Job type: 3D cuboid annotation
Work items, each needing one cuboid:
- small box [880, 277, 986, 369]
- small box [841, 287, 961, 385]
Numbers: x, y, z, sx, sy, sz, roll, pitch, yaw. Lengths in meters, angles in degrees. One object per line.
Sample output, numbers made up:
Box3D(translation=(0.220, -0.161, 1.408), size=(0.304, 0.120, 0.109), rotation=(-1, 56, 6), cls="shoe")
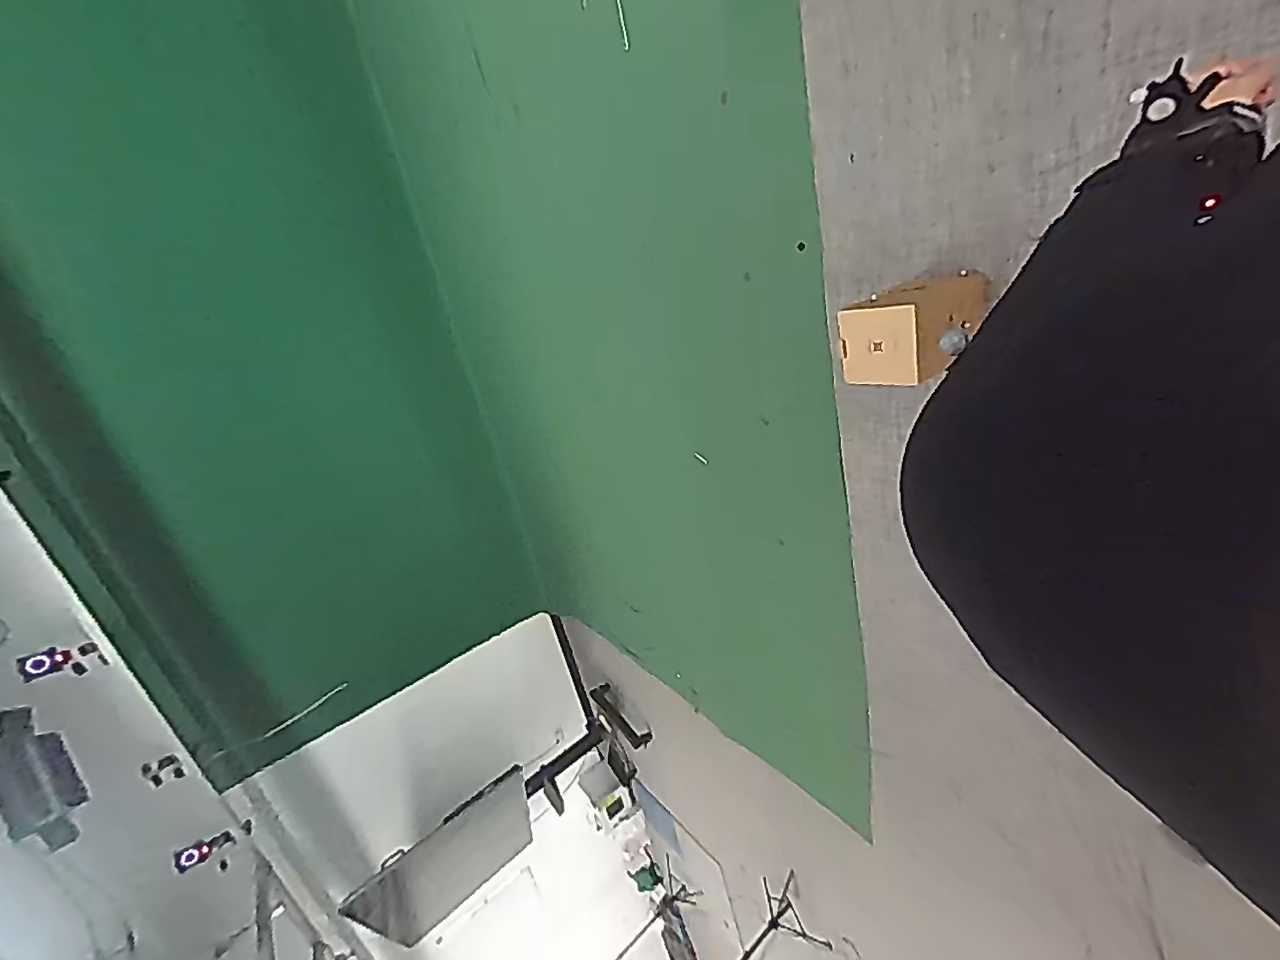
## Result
Box3D(translation=(0.687, -0.372, 1.271), size=(0.168, 0.176, 0.179), rotation=(19, 129, 51), cls="small box")
Box3D(translation=(0.568, -0.312, 1.176), size=(0.179, 0.176, 0.168), rotation=(14, 125, 52), cls="small box")
